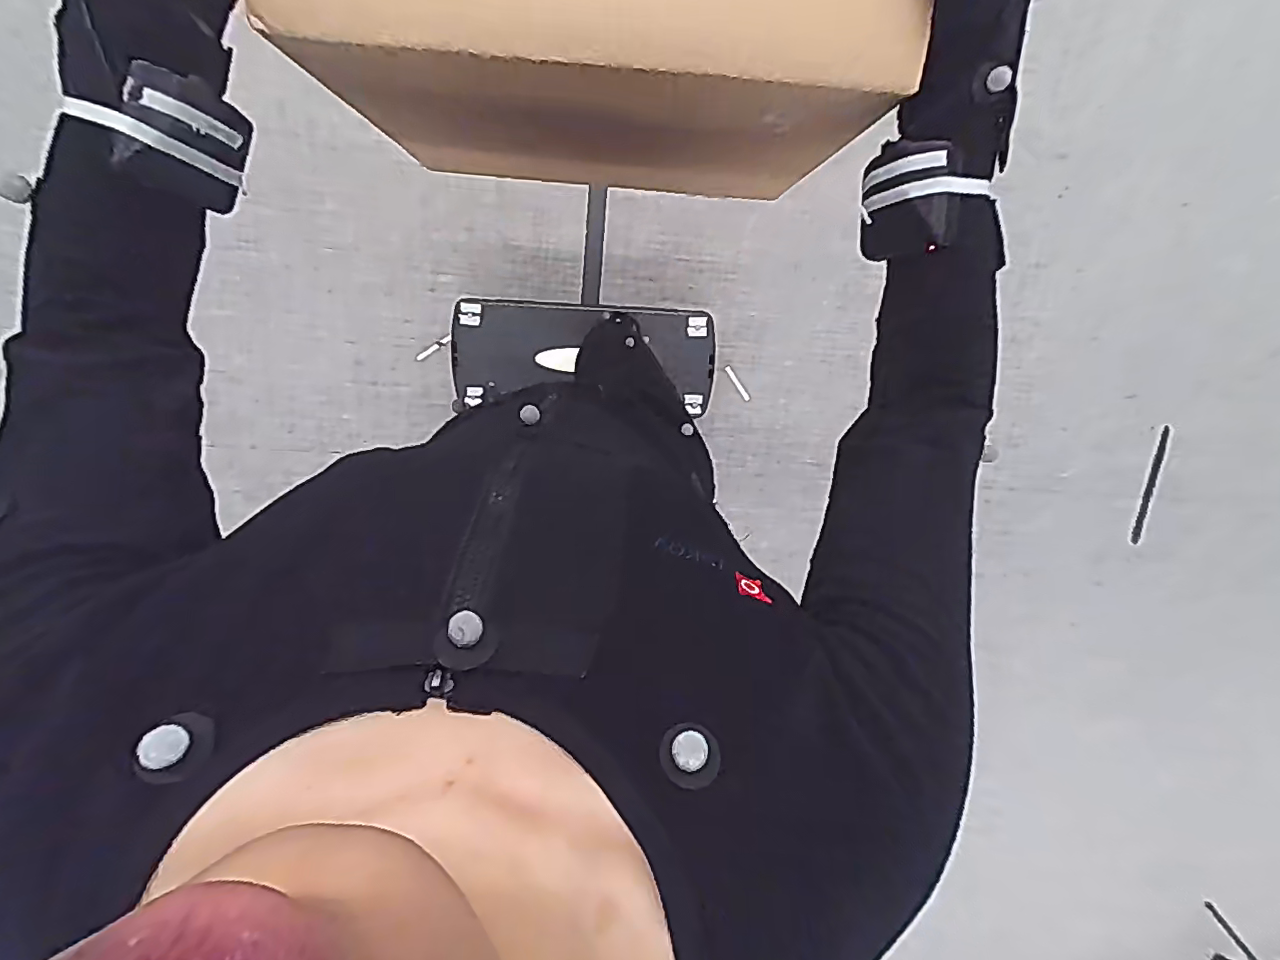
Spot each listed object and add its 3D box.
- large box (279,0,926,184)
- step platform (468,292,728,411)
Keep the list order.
[{"bbox_3d":[-0.022,-0.455,0.438,0.408,0.320,0.320,2,107,-4],"label":"large box"},{"bbox_3d":[-0.107,-0.342,1.460,0.684,0.204,0.286,1,104,-5],"label":"step platform"}]
